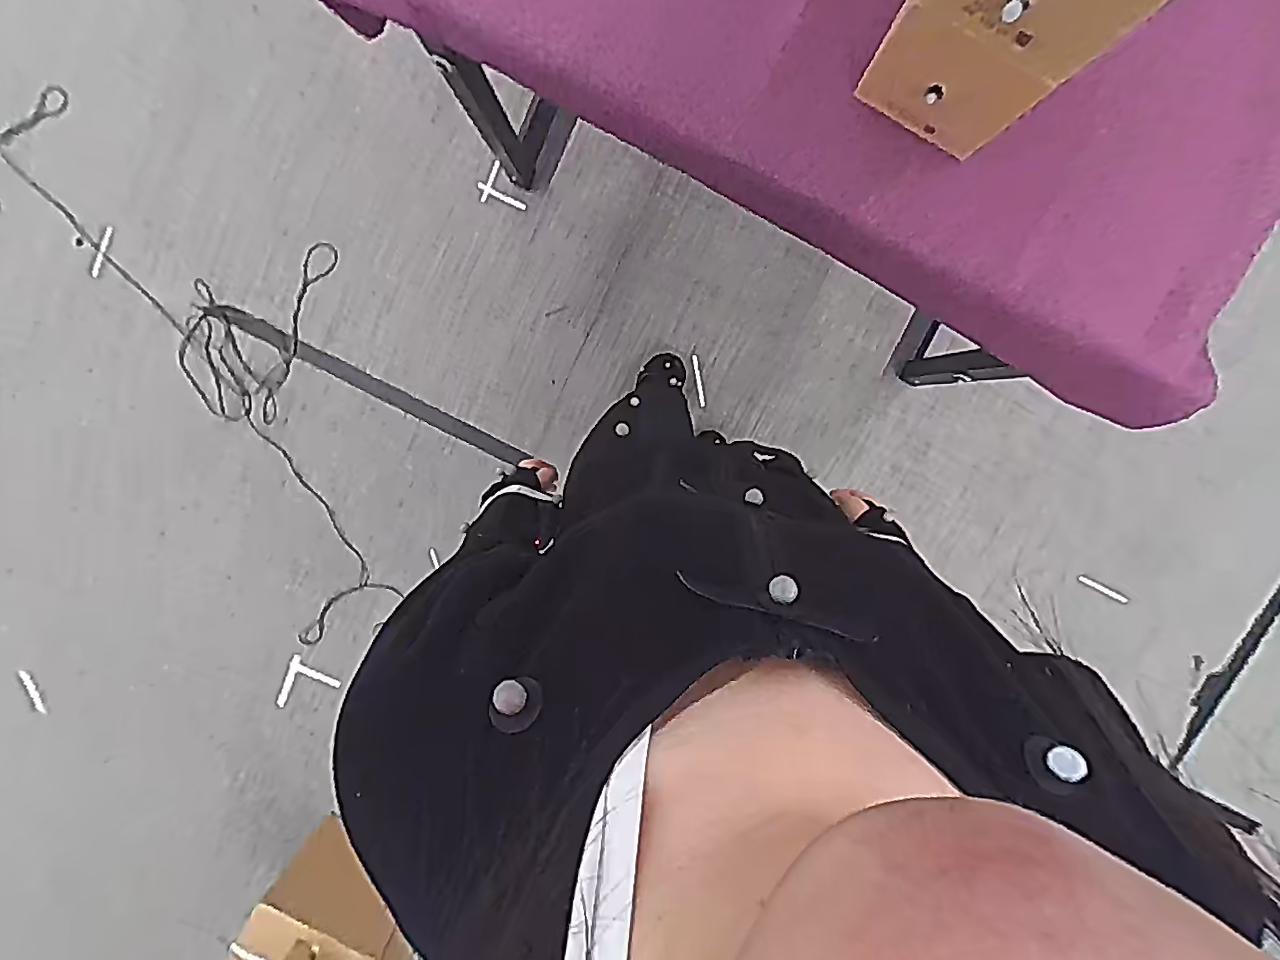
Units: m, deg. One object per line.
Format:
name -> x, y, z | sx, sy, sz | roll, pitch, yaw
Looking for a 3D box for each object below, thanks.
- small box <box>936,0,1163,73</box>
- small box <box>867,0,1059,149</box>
small box -> 0.381, -0.492, 0.432 | 0.168, 0.176, 0.179 | 29, 98, -3
small box -> 0.380, -0.513, 0.595 | 0.168, 0.176, 0.179 | 29, 97, -3
